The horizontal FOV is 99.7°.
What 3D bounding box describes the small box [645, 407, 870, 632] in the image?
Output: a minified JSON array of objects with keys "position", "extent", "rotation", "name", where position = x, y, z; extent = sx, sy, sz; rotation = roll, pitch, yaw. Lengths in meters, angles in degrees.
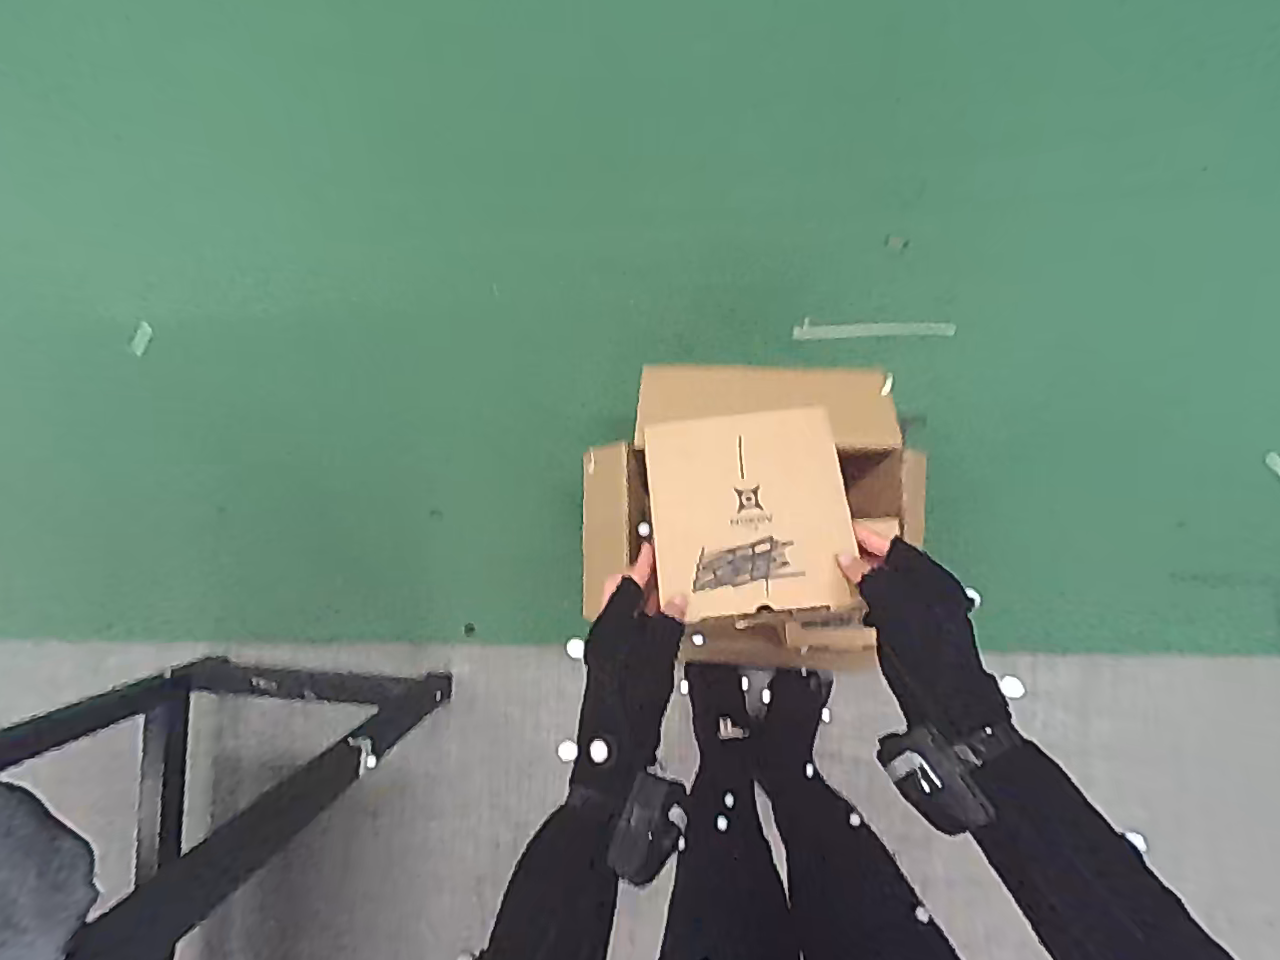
[{"position":[0.098,0.051,0.523],"extent":[0.168,0.176,0.179],"rotation":[-6,71,2],"name":"small box"}]
